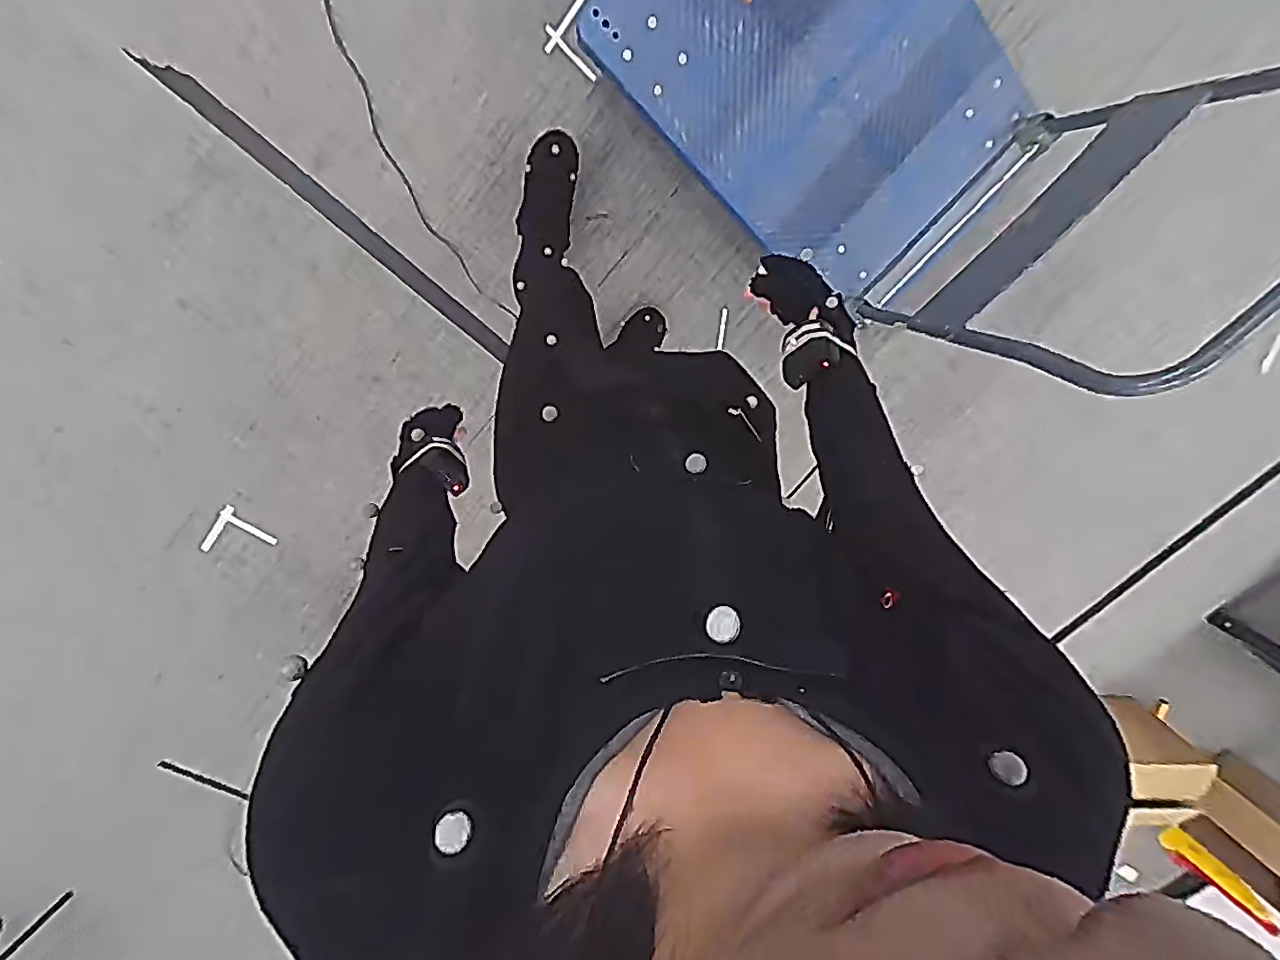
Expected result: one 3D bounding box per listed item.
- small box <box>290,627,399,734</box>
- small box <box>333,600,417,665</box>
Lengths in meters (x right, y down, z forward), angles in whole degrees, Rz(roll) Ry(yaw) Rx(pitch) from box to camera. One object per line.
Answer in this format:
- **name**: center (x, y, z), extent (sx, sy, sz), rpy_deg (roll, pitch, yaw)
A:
- **small box**: center (-0.785, 0.536, 1.459), extent (0.179, 0.176, 0.168), rpy_deg (-43, 111, 13)
- **small box**: center (-0.804, 0.486, 1.614), extent (0.179, 0.176, 0.168), rpy_deg (35, 106, -20)
